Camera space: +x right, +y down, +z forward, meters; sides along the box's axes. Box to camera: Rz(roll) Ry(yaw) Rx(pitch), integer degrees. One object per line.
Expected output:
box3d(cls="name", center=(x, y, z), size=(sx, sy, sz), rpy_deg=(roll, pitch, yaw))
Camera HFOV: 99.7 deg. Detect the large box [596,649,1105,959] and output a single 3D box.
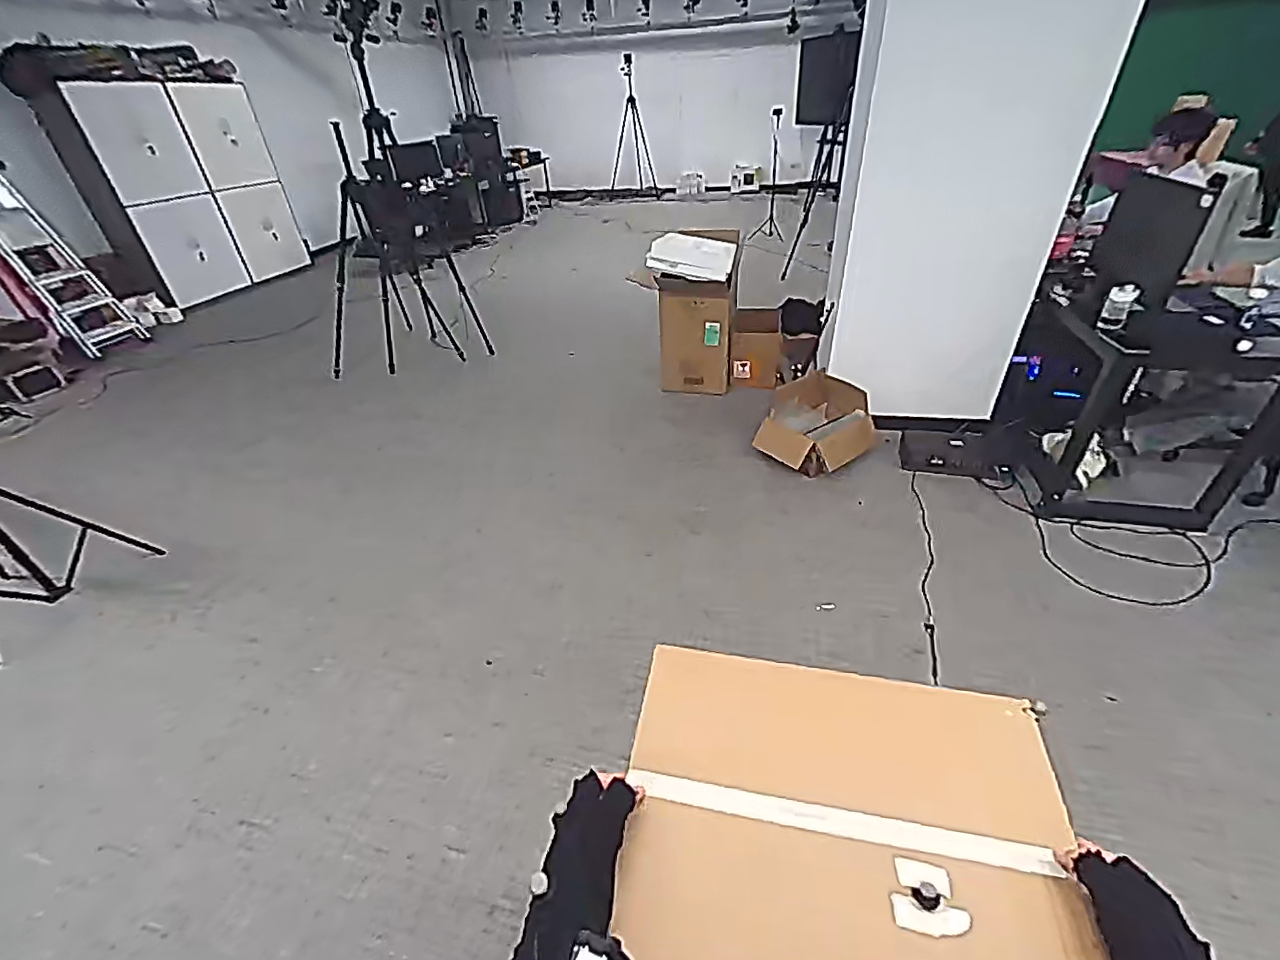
box3d(cls="large box", center=(0.191, 0.430, 0.604), size=(0.408, 0.320, 0.320), rpy_deg=(5, 42, 11))
